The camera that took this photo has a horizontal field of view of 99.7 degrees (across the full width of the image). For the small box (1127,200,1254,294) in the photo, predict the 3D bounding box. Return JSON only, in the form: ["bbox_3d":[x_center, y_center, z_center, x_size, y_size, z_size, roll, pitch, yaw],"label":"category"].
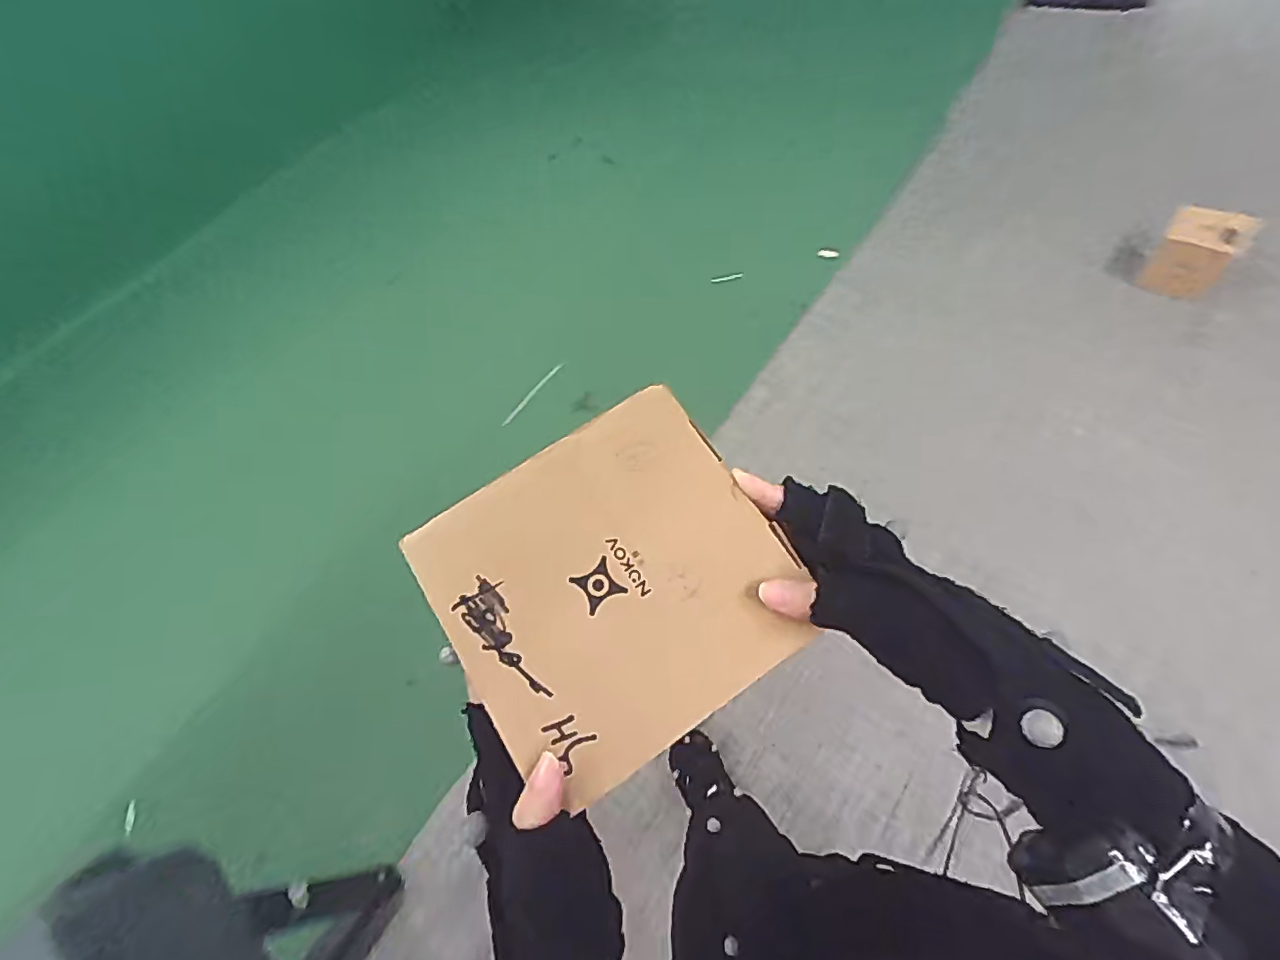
[{"bbox_3d":[1.574,-0.665,1.557,0.179,0.176,0.168,34,73,29],"label":"small box"}]

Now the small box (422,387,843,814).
[{"bbox_3d":[-0.005,0.075,0.368,0.179,0.176,0.168,-34,74,-8],"label":"small box"}]
